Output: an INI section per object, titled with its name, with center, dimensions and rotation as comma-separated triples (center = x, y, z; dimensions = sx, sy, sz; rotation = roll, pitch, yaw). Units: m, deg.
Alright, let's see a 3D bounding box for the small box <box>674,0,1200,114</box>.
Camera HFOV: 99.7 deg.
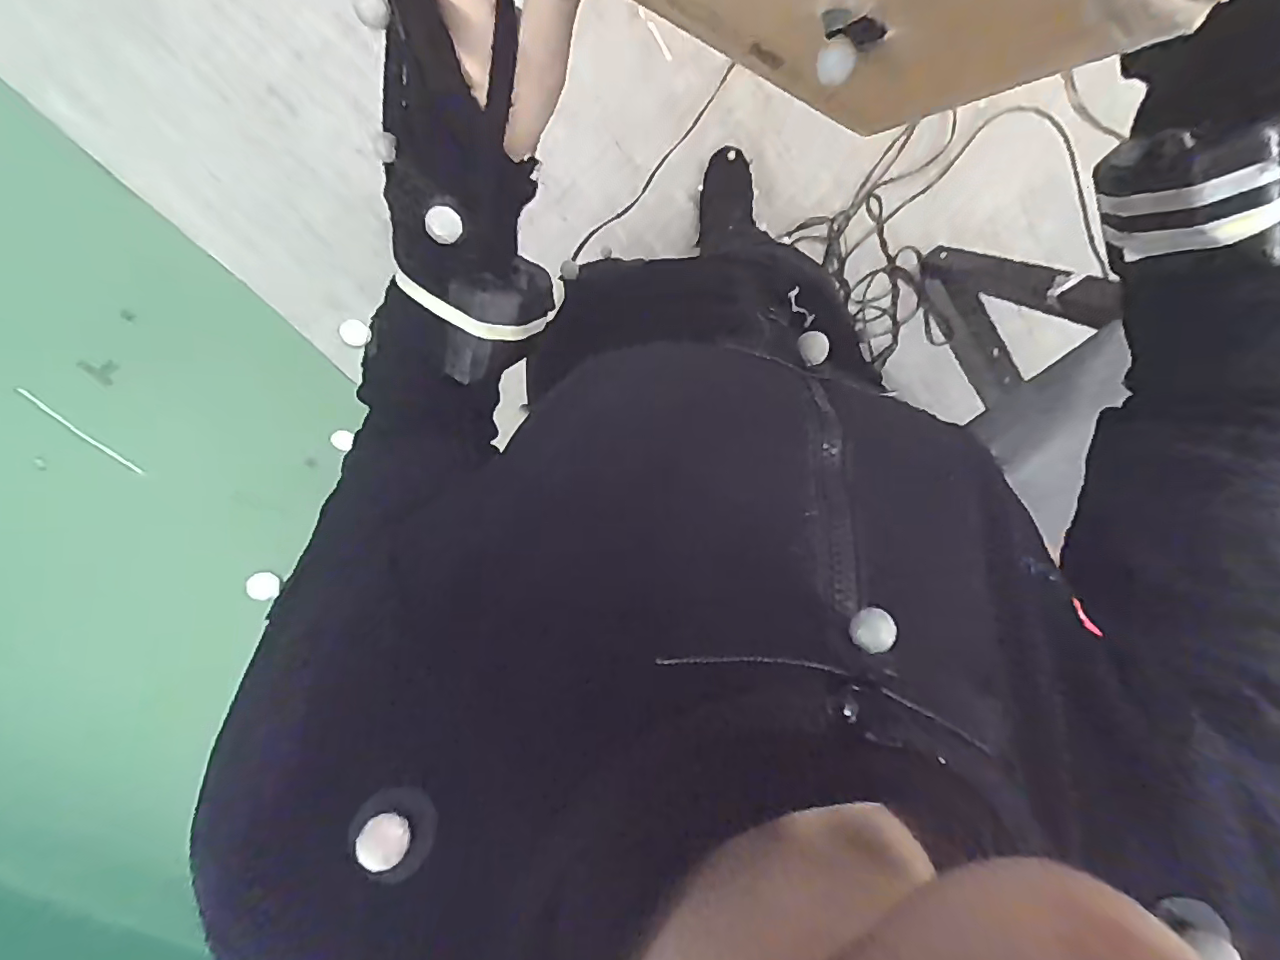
[small box]
center = 0.066, -0.222, 0.124
dimensions = 0.168, 0.176, 0.179
rotation = 21, 113, -12
